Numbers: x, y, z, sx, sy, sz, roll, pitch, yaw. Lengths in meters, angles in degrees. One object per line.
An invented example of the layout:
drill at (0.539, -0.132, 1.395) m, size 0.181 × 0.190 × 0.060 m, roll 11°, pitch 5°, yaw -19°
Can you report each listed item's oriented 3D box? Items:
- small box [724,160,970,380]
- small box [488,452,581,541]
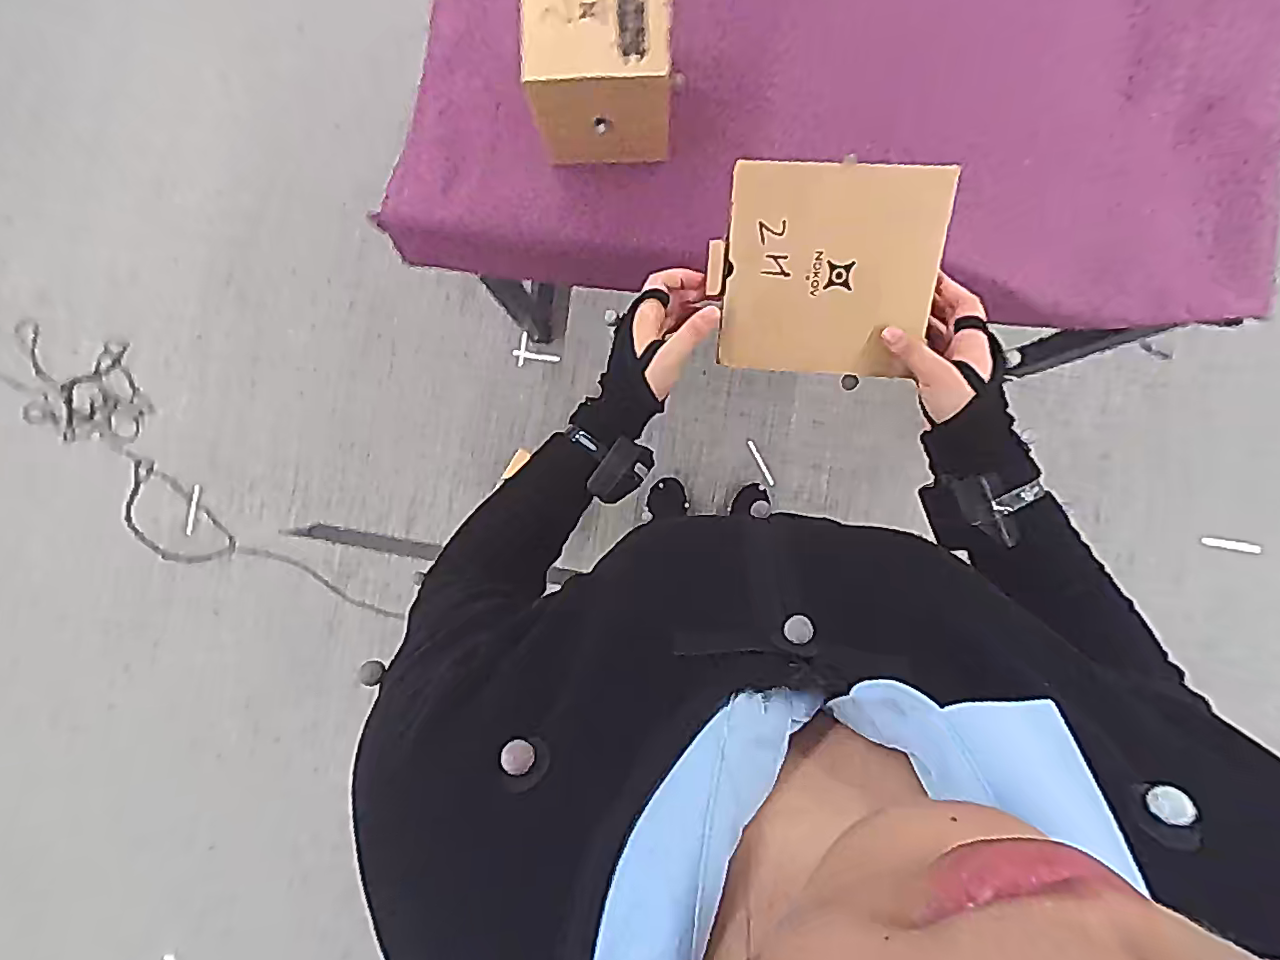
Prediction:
small box at (0.178, -0.195, 0.528) m, size 0.179 × 0.176 × 0.168 m, roll 6°, pitch 106°, yaw 8°
small box at (-0.271, 0.044, 1.445) m, size 0.168 × 0.176 × 0.179 m, roll 31°, pitch 90°, yaw 2°
